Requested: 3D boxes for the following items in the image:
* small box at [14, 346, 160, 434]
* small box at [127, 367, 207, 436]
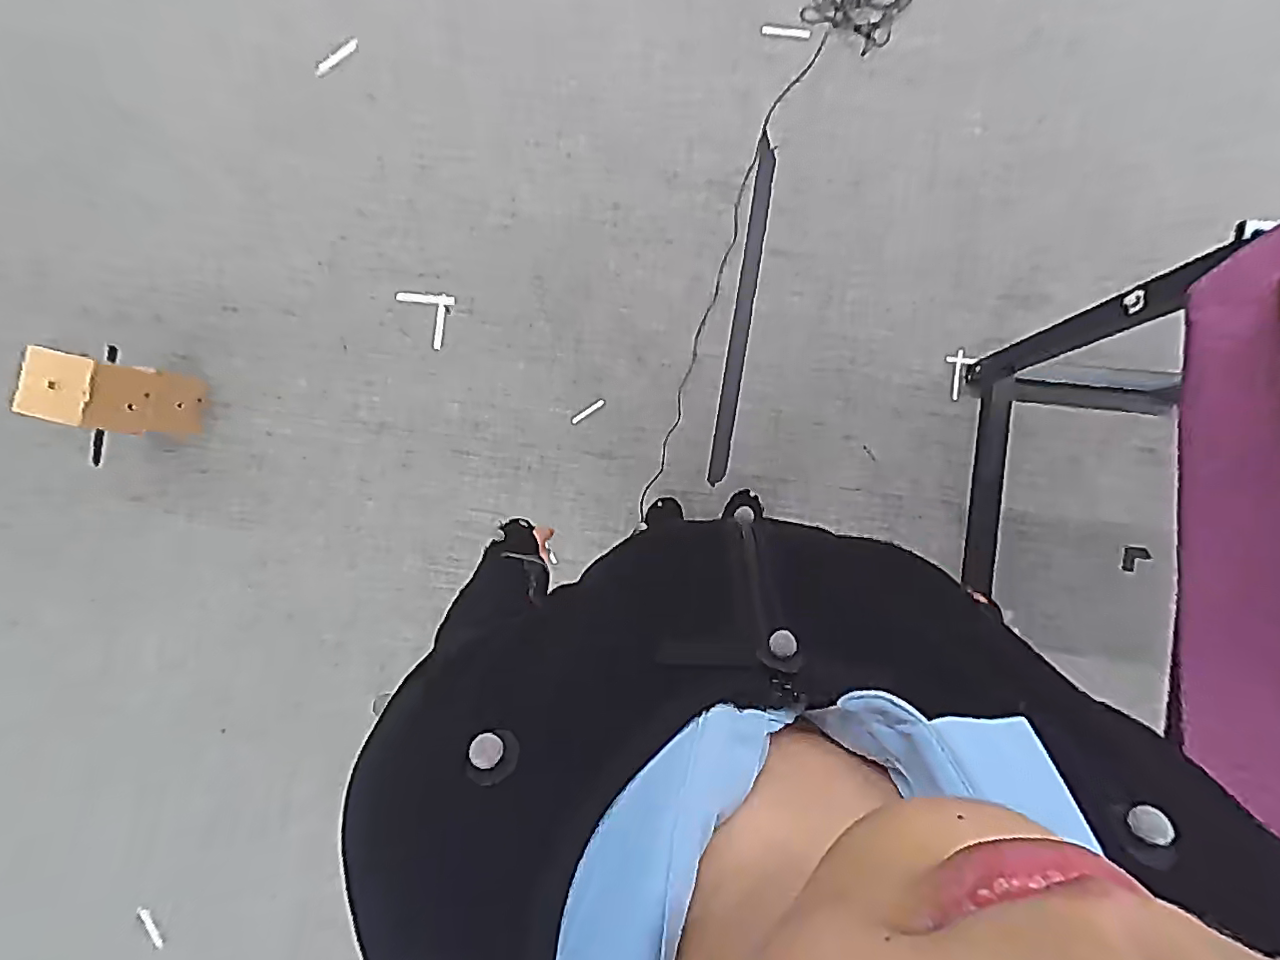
[{"bbox_3d":[-1.380,-0.219,1.360,0.179,0.176,0.168,13,89,3],"label":"small box"},{"bbox_3d":[-1.374,-0.220,1.523,0.179,0.176,0.168,6,88,4],"label":"small box"}]
